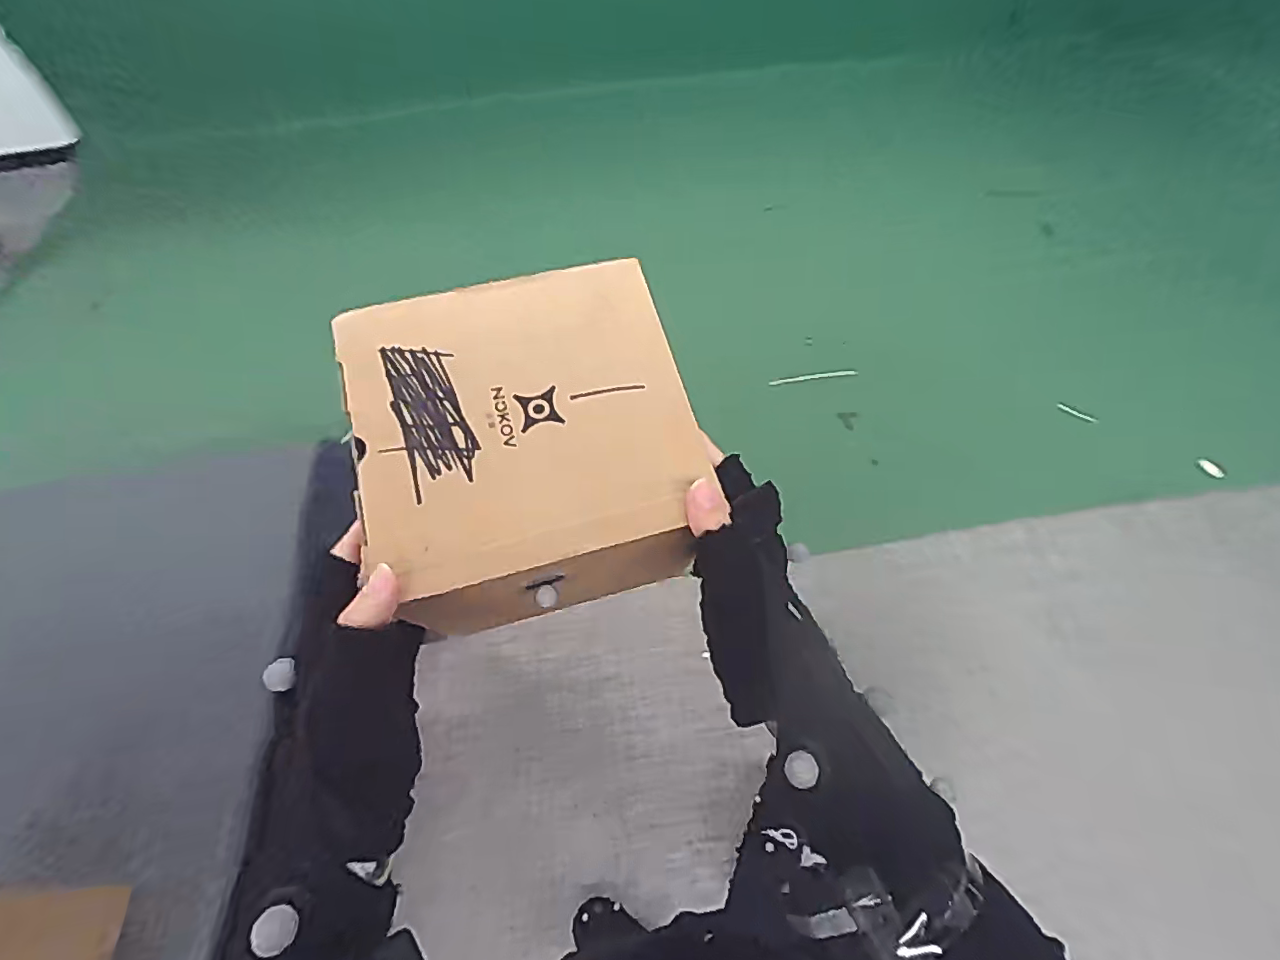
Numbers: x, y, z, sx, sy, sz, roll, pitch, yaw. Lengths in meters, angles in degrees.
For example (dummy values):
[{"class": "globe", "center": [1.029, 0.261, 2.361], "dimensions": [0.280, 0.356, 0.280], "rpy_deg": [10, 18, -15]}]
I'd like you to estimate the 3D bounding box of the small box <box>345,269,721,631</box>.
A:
[{"class": "small box", "center": [-0.064, -0.005, 0.360], "dimensions": [0.179, 0.176, 0.168], "rpy_deg": [-13, 71, -8]}]
